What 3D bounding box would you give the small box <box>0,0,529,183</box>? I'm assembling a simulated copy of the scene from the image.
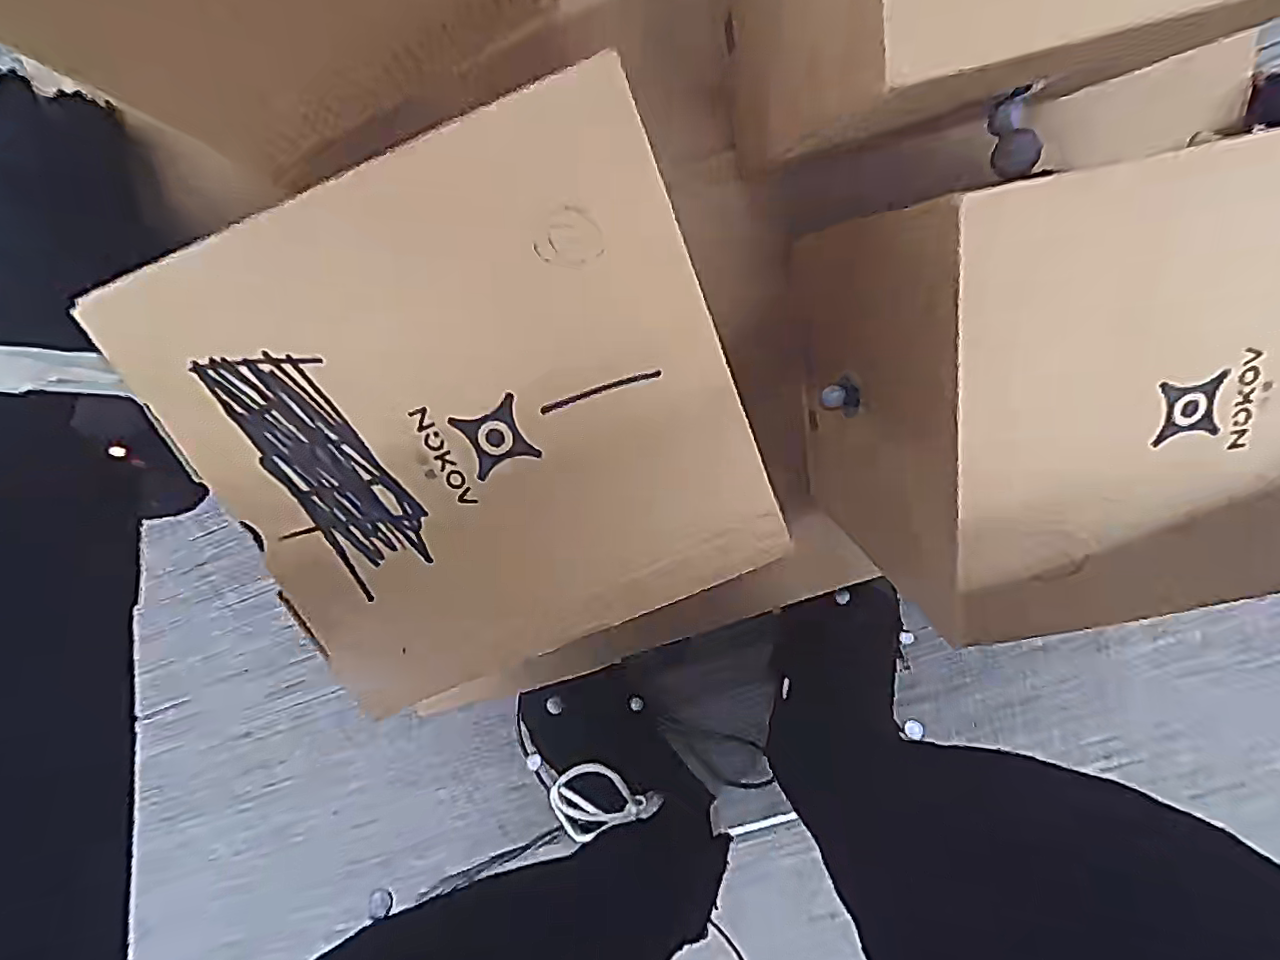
[{"bbox_3d":[-0.152,-0.243,0.187,0.179,0.176,0.168,-30,102,6],"label":"small box"}]
